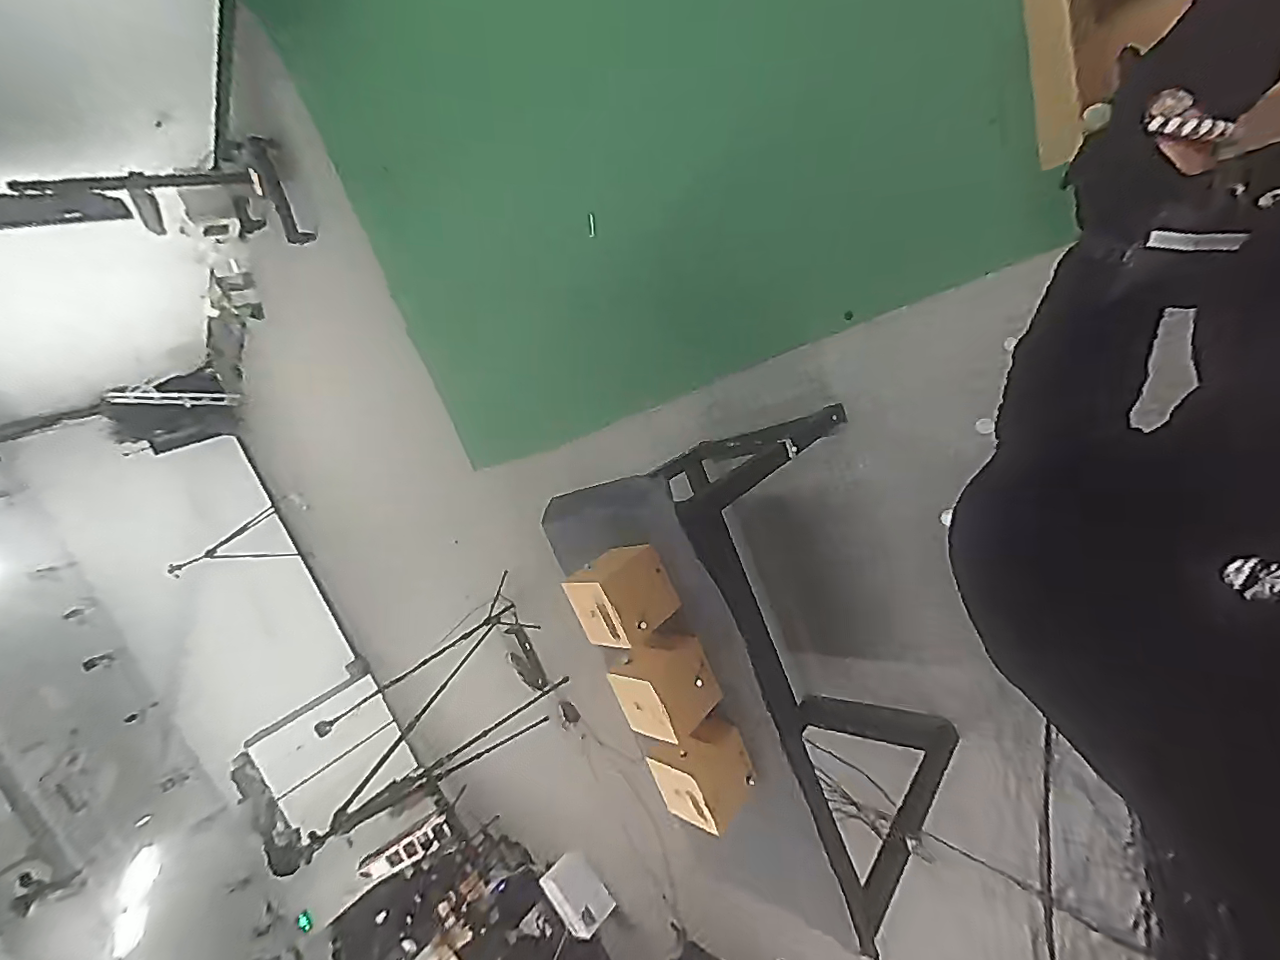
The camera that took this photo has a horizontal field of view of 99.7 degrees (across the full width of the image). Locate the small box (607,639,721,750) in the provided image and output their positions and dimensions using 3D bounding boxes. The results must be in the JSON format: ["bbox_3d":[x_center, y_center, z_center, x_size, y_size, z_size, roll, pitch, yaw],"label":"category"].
[{"bbox_3d":[0.059,0.494,1.275,0.179,0.176,0.168,-15,102,50],"label":"small box"}]

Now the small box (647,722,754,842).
[{"bbox_3d":[0.153,0.715,1.306,0.179,0.176,0.168,-12,103,50],"label":"small box"}]
